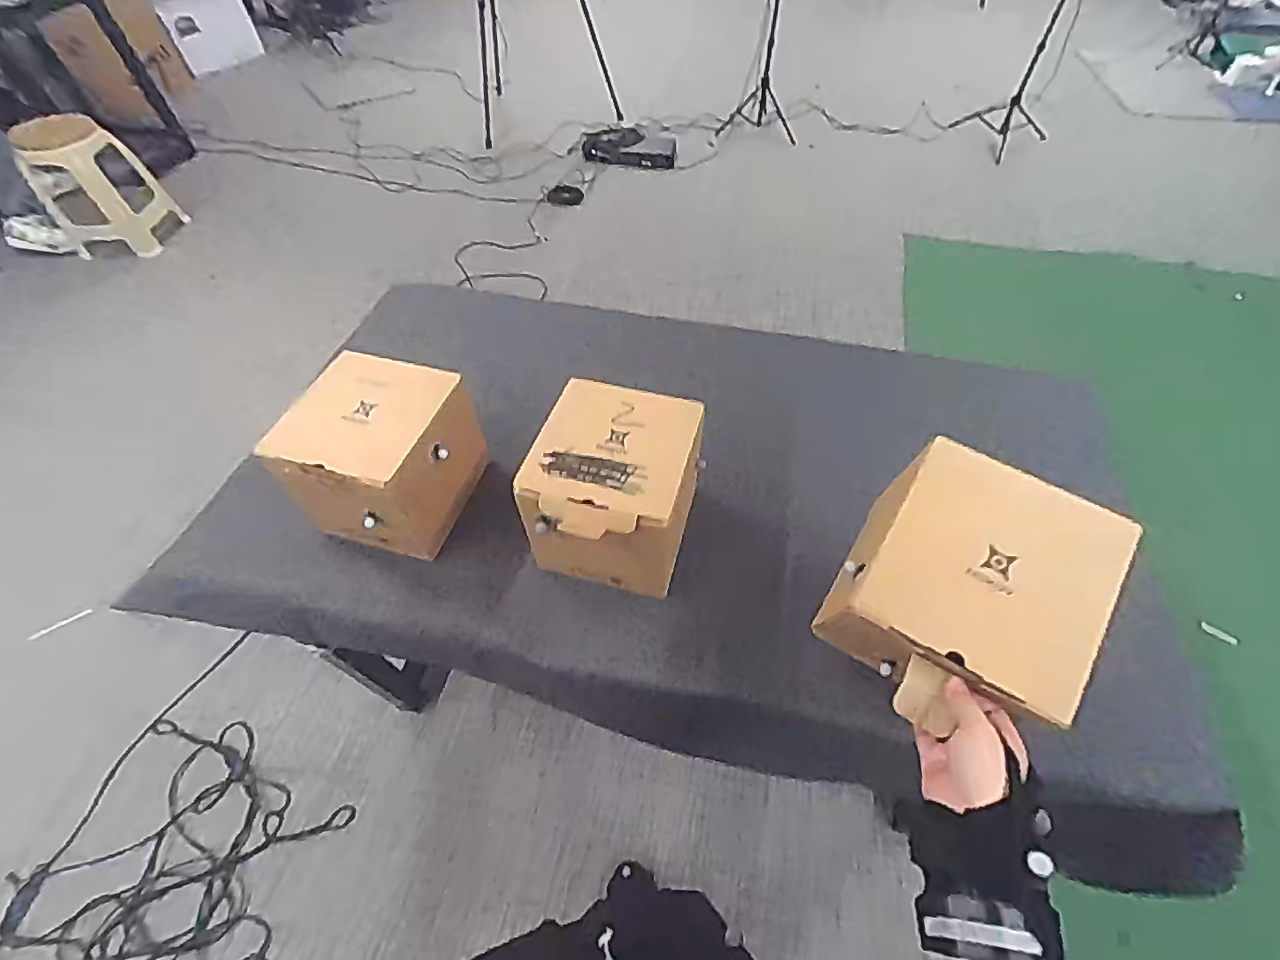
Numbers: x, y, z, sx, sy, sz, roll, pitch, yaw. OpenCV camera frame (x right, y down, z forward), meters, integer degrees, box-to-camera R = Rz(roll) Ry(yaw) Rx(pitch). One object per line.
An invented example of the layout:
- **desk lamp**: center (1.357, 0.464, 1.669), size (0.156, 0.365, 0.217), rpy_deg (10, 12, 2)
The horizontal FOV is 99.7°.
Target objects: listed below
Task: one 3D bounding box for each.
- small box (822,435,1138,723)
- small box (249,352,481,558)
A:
- **small box**: center (0.288, 0.095, 0.498), size (0.168, 0.176, 0.179), rpy_deg (28, 74, 16)
- **small box**: center (-0.316, -0.027, 0.672), size (0.168, 0.176, 0.179), rpy_deg (13, 53, 8)
